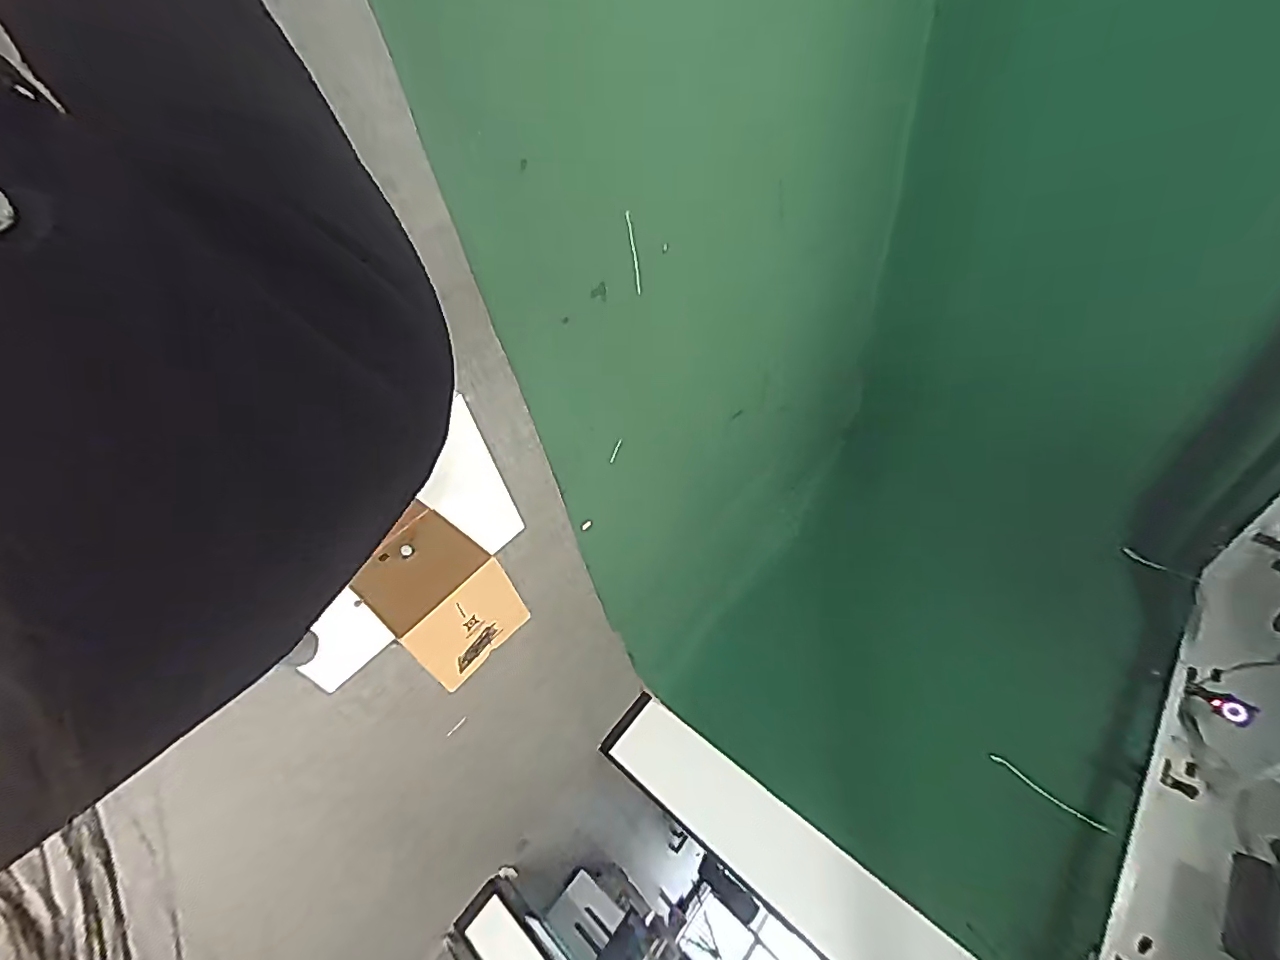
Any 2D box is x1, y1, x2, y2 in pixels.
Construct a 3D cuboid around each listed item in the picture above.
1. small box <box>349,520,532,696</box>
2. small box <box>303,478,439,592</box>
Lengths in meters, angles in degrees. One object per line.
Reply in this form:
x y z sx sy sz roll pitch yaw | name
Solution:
-0.303 0.193 0.838 0.168 0.176 0.179 -45 145 -24 | small box
-0.426 0.126 0.925 0.168 0.176 0.179 -45 142 -26 | small box
